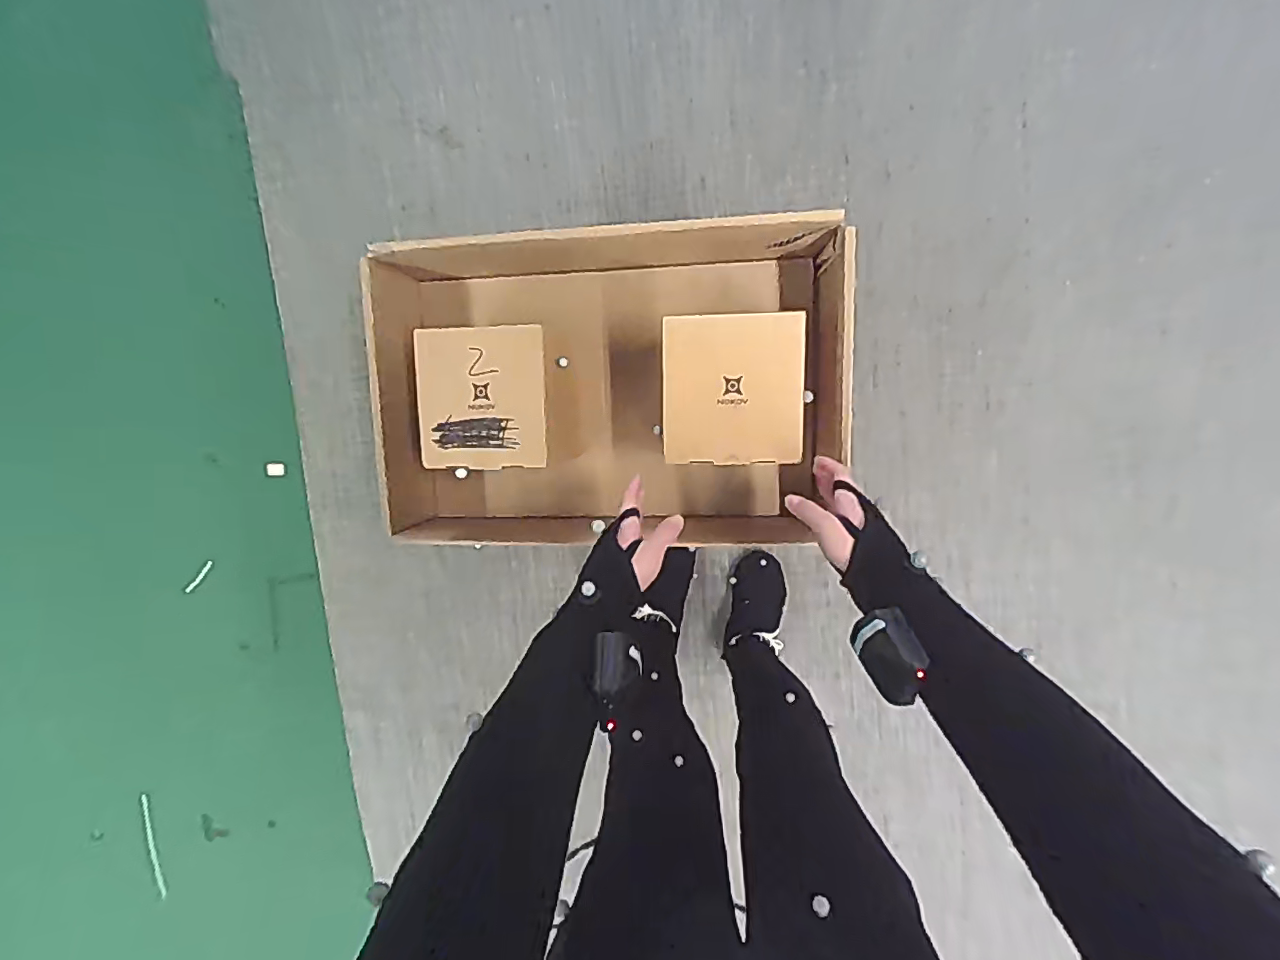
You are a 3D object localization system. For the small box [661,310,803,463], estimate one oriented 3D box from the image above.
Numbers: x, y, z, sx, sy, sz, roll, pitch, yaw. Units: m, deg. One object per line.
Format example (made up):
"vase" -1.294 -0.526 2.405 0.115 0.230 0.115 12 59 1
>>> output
"small box" 0.113 -0.116 0.709 0.168 0.176 0.179 -1 98 7
